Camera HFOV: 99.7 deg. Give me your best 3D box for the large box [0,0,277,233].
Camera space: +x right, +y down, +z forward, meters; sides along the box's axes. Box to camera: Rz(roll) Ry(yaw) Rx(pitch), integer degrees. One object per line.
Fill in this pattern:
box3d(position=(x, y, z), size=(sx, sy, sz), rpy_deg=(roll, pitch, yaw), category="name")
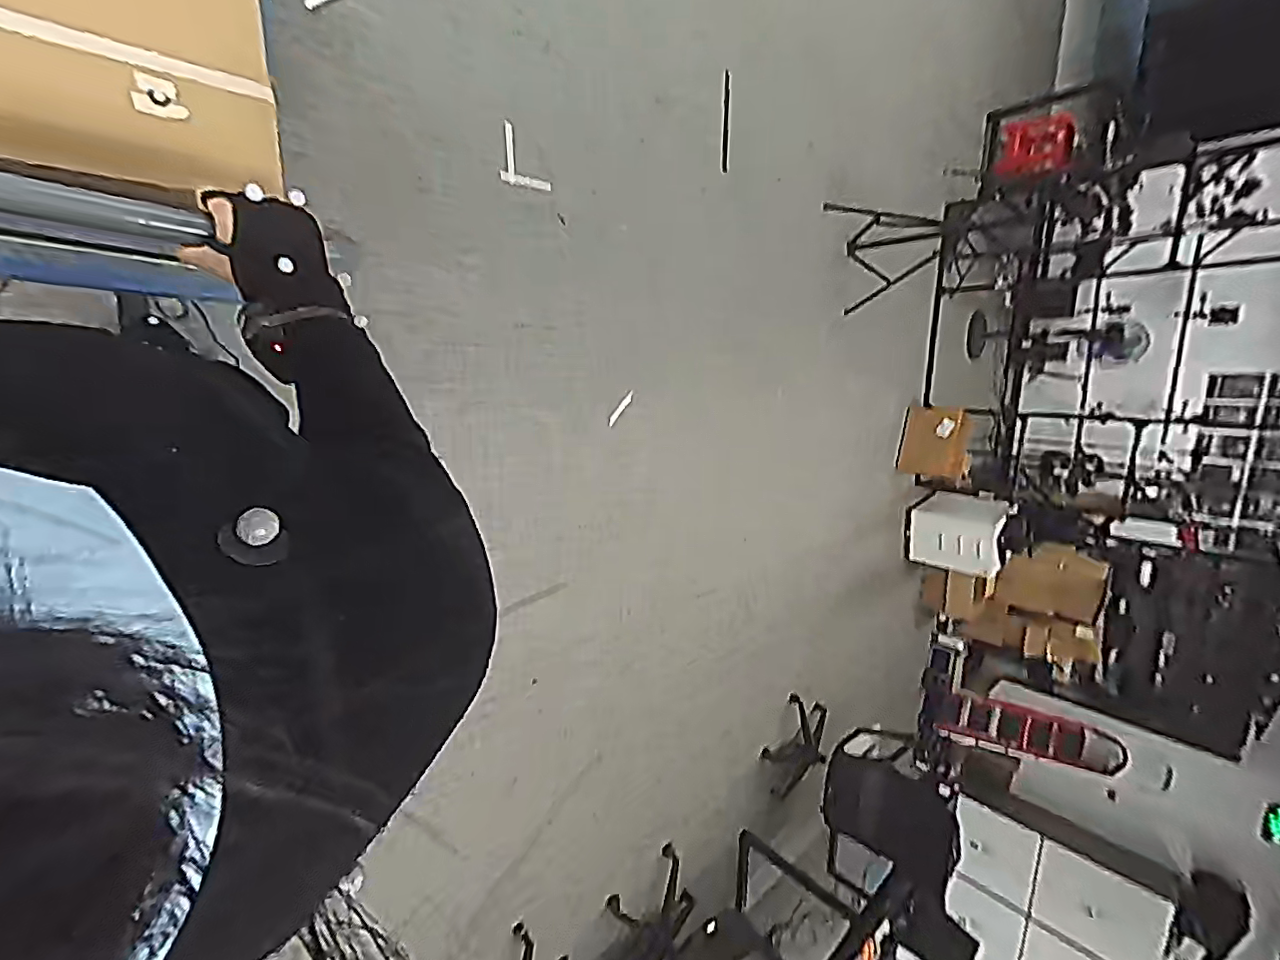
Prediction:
box3d(position=(-0.822, -0.581, 0.794), size=(0.408, 0.320, 0.320), rpy_deg=(-11, 107, -44), category="large box")
